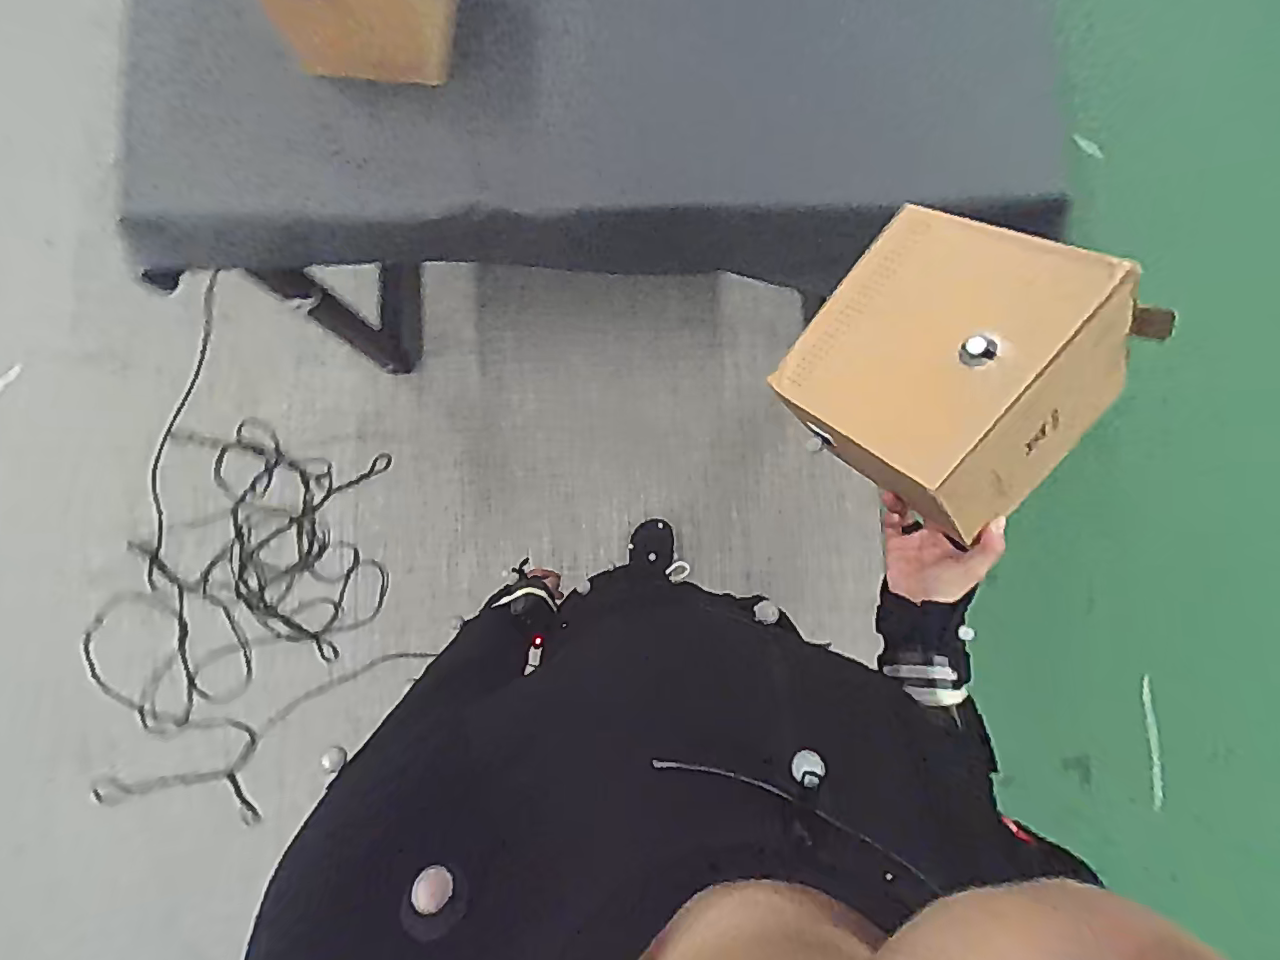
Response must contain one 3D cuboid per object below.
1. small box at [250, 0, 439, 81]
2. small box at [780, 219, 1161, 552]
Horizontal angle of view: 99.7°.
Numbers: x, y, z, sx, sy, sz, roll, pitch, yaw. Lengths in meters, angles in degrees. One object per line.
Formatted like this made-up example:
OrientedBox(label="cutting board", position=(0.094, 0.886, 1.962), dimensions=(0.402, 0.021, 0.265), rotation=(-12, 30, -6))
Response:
OrientedBox(label="small box", position=(-0.338, -0.596, 0.612), dimensions=(0.179, 0.176, 0.168), rotation=(4, 84, -2))
OrientedBox(label="small box", position=(0.249, -0.074, 0.434), dimensions=(0.179, 0.168, 0.176), rotation=(-52, 49, 10))
